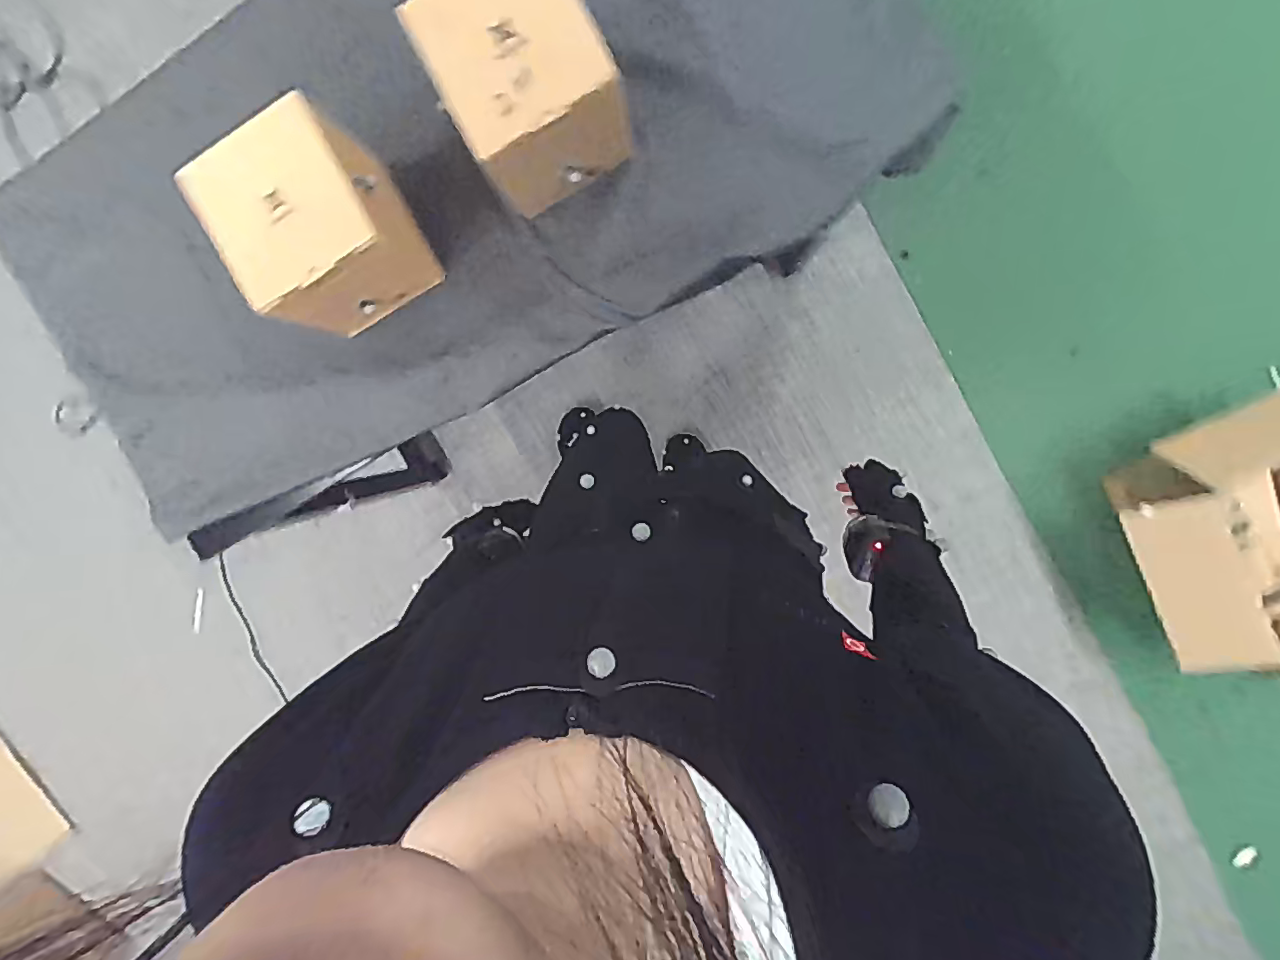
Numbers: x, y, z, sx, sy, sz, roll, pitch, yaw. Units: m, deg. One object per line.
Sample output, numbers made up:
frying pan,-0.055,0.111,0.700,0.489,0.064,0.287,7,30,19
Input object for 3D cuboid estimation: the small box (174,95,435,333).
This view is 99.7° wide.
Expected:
small box,-0.389,-0.303,0.661,0.168,0.176,0.179,-29,94,7

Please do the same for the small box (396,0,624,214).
small box,-0.133,-0.450,0.623,0.168,0.176,0.179,-28,94,7
